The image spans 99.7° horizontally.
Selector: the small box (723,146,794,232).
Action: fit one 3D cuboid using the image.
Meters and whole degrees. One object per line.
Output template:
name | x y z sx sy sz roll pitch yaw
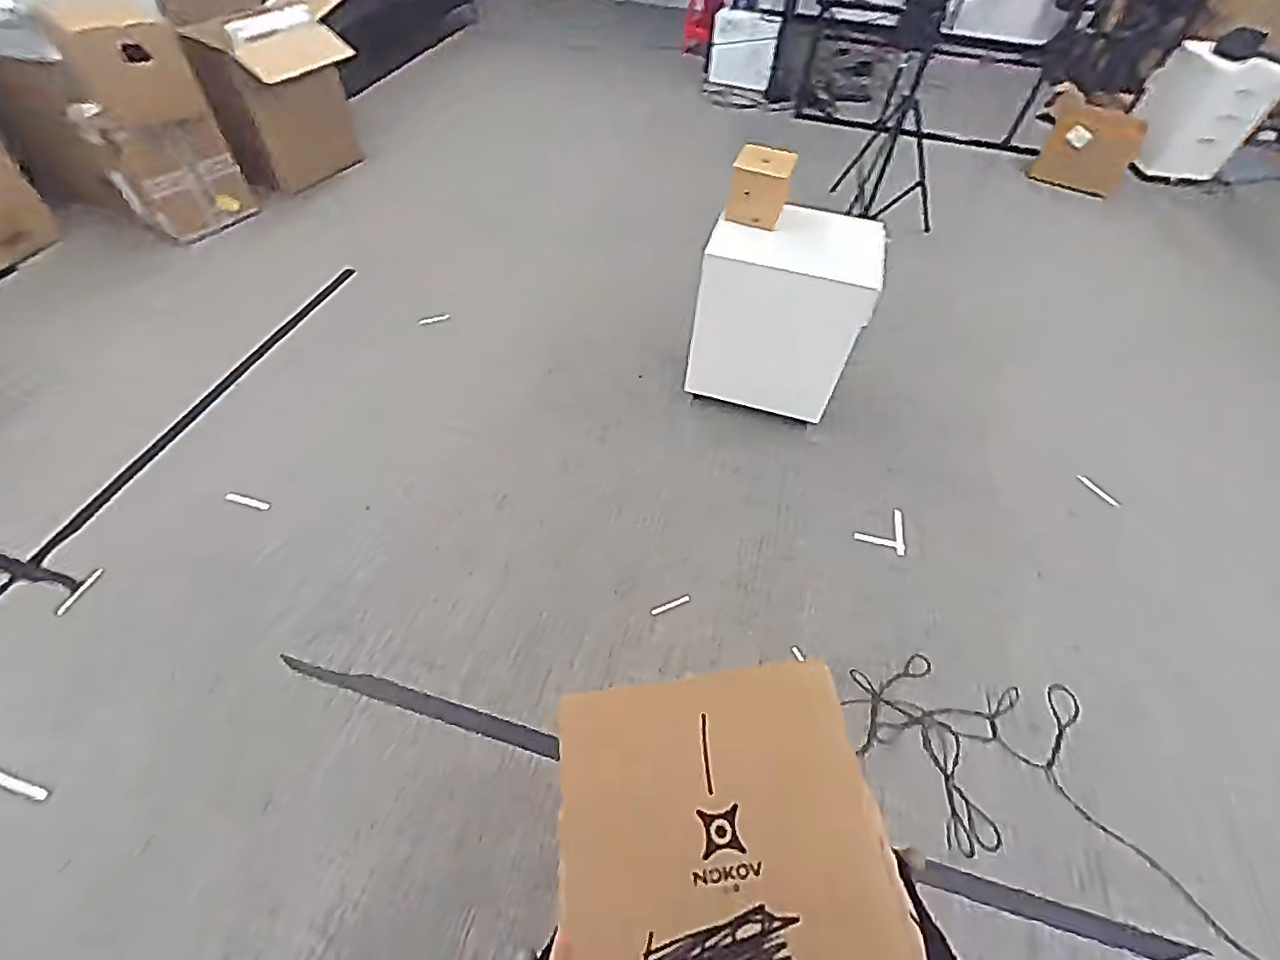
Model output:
small box | 0.365 -0.906 1.689 0.168 0.176 0.179 18 54 10
